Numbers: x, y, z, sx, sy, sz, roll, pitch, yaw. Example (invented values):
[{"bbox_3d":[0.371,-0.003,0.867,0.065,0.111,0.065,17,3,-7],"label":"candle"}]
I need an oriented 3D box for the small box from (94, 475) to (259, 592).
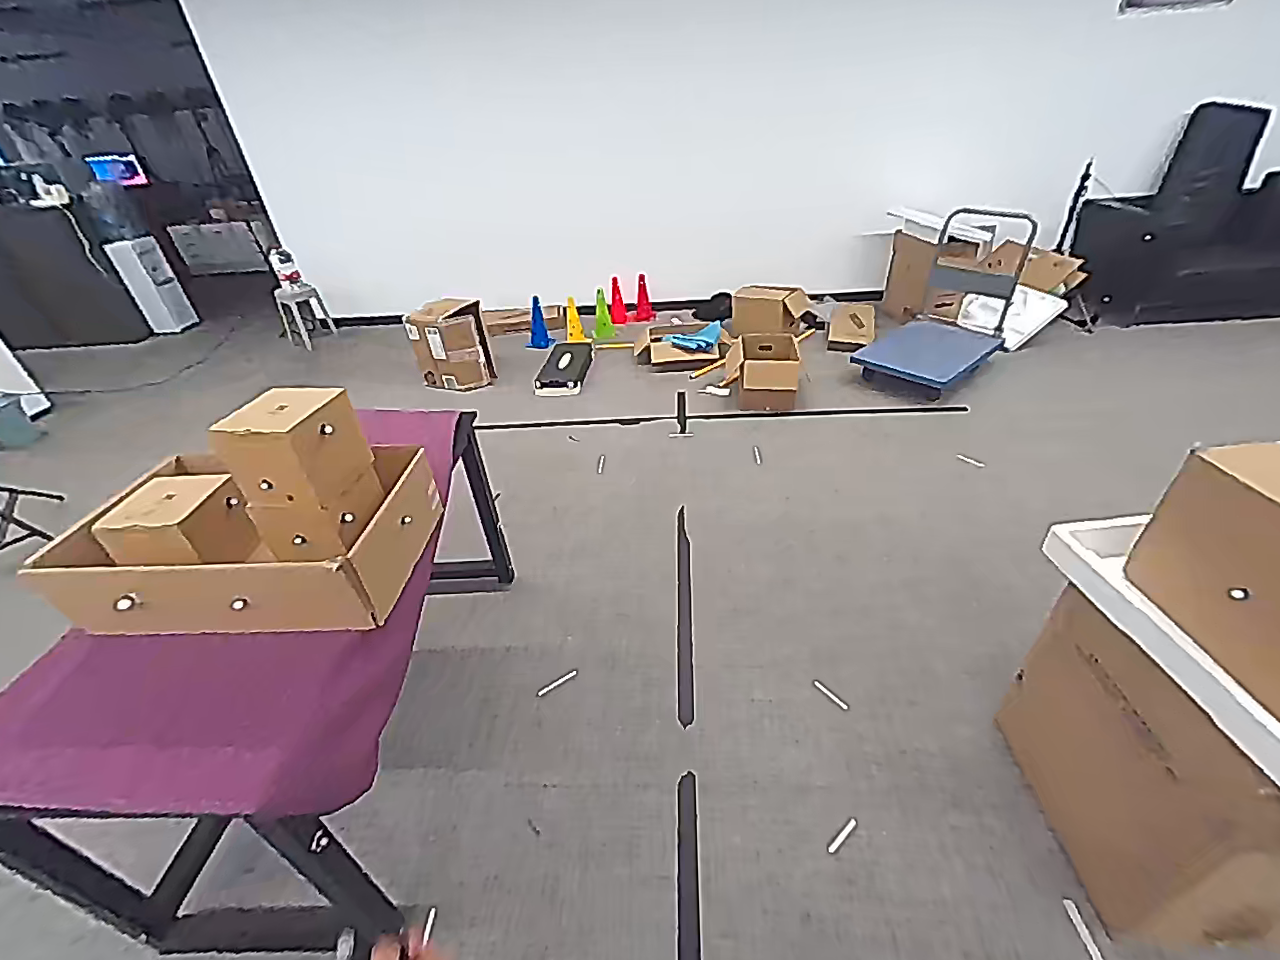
[{"bbox_3d":[-0.927,0.109,1.109,0.168,0.176,0.179,-3,34,0],"label":"small box"}]

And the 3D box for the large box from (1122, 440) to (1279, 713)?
[{"bbox_3d":[1.166,0.167,0.905,0.320,0.320,0.408,-4,33,0],"label":"large box"}]
